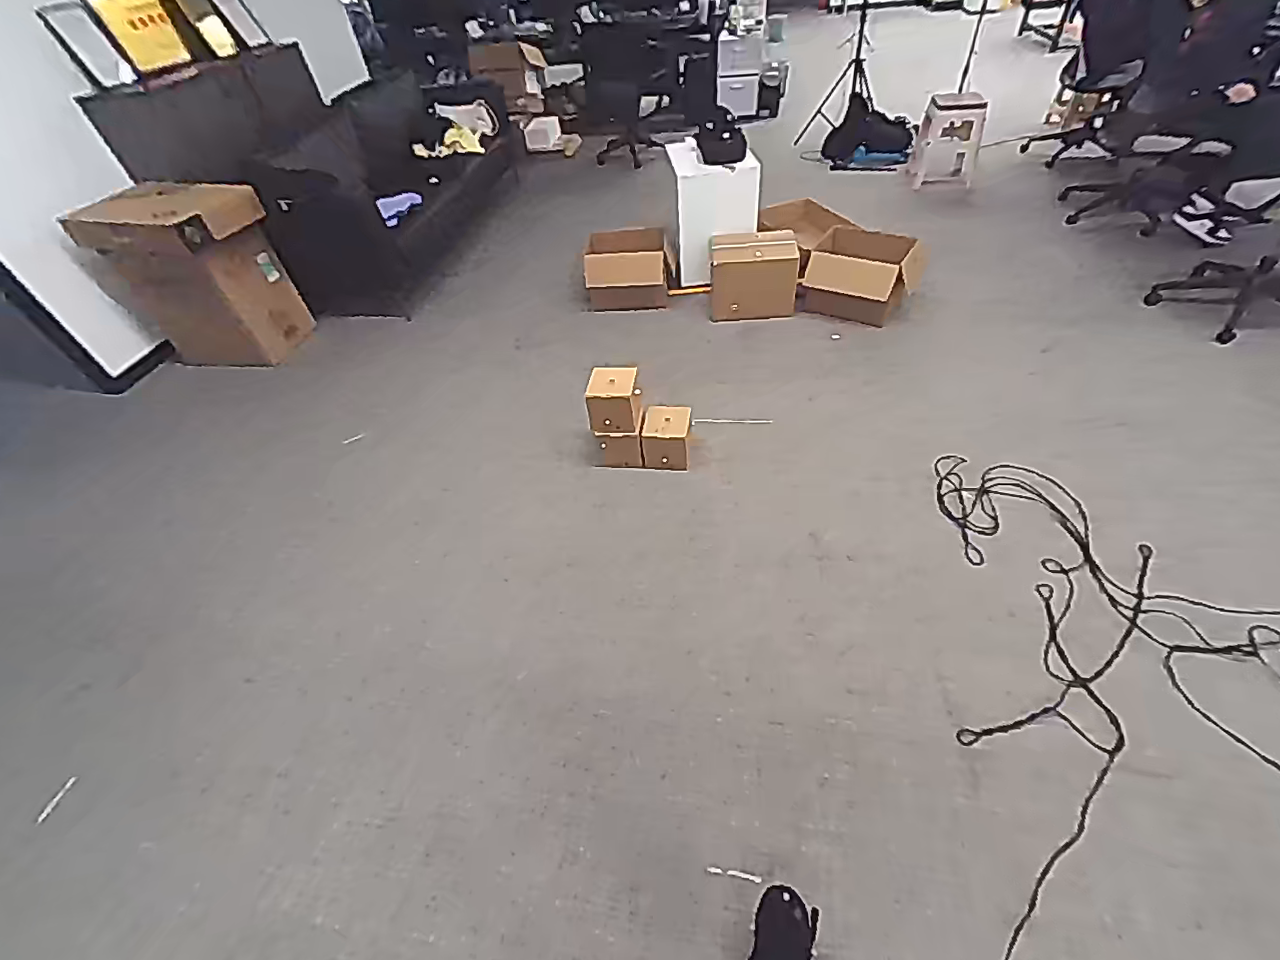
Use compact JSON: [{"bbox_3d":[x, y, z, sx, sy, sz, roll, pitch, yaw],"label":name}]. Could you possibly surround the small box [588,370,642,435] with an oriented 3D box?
[{"bbox_3d":[-0.086,-0.286,1.987,0.168,0.176,0.179,2,47,9],"label":"small box"}]
